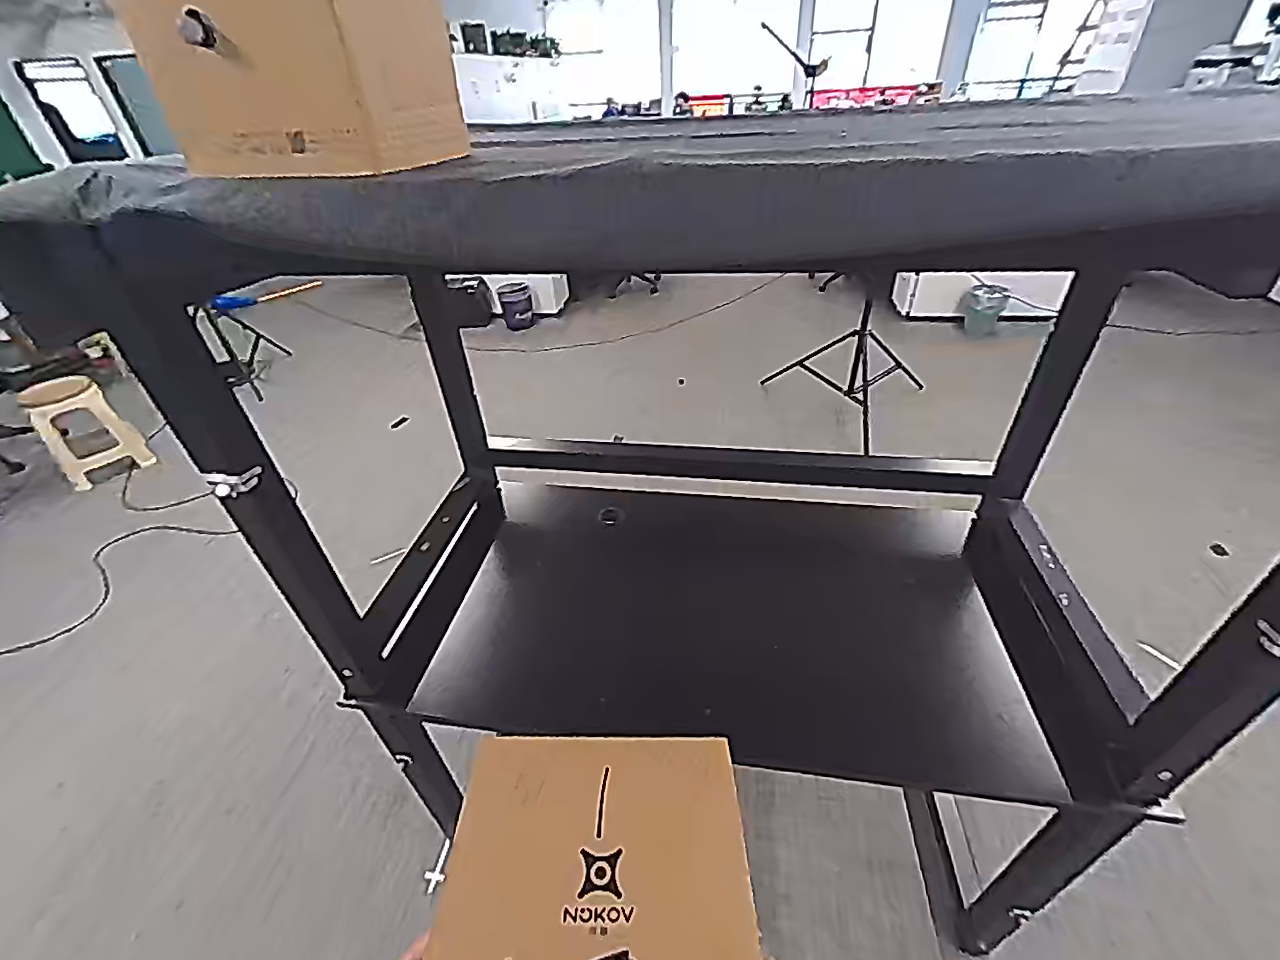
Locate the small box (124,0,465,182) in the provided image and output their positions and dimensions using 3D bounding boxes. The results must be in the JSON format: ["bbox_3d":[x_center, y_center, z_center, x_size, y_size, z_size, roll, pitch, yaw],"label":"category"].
[{"bbox_3d":[-0.263,-0.347,0.443,0.168,0.176,0.179,4,35,8],"label":"small box"}]

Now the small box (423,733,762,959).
[{"bbox_3d":[-0.023,0.281,0.325,0.168,0.176,0.179,1,32,-2],"label":"small box"}]
